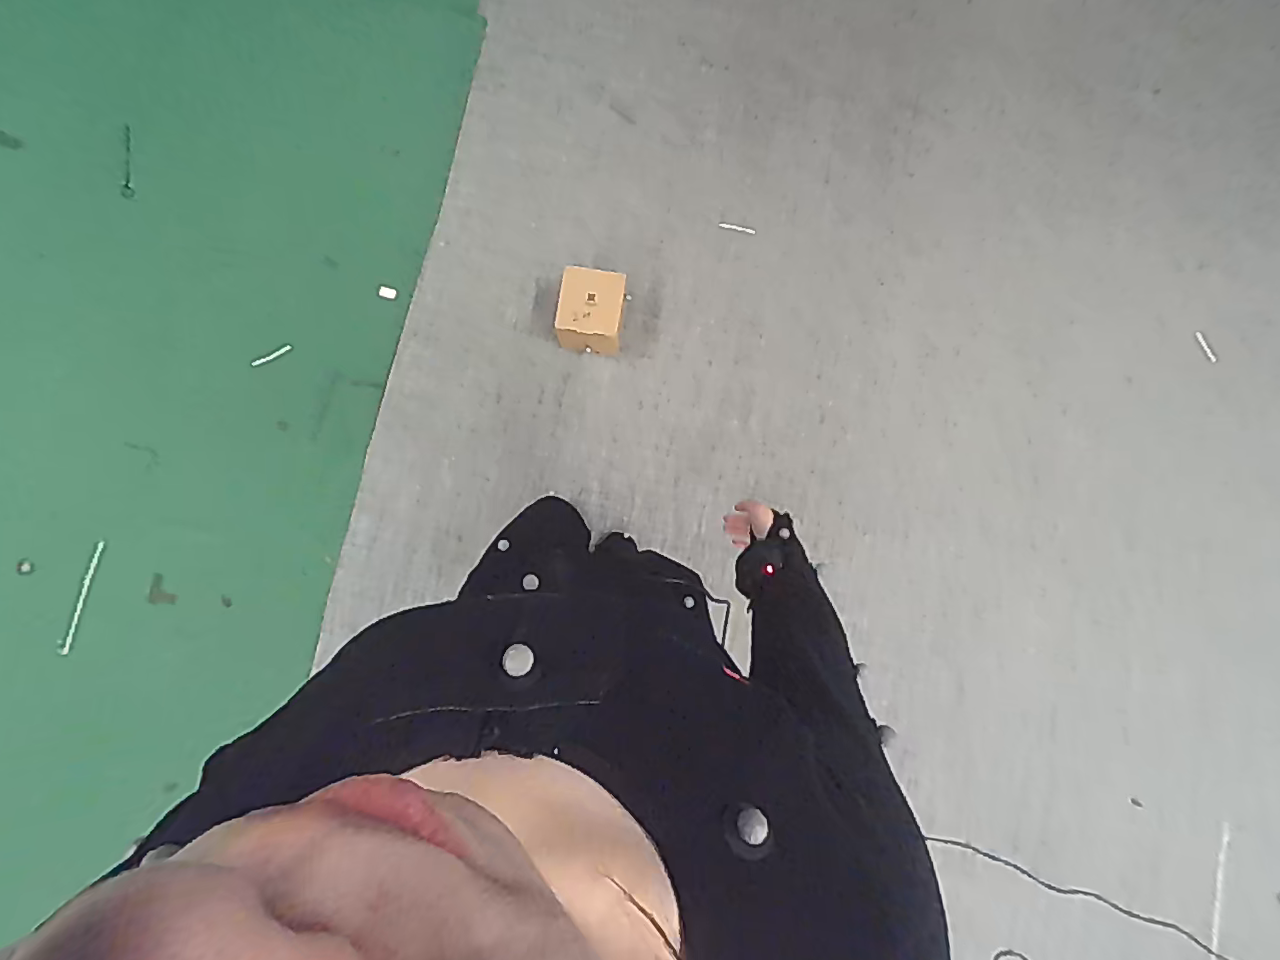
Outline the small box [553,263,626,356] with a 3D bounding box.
[{"bbox_3d":[-0.132,-0.457,1.472,0.168,0.176,0.179,9,84,0],"label":"small box"}]
